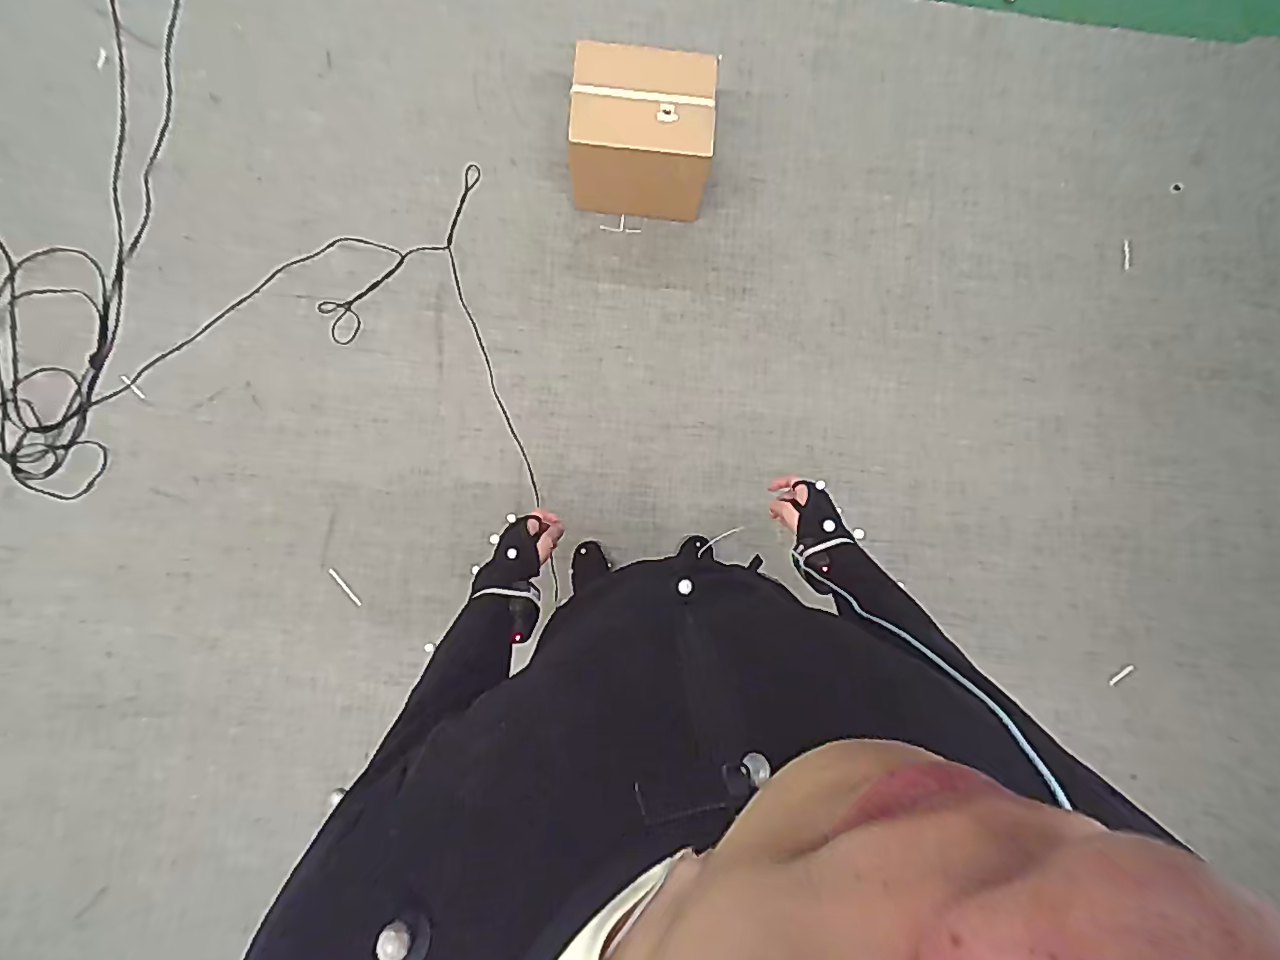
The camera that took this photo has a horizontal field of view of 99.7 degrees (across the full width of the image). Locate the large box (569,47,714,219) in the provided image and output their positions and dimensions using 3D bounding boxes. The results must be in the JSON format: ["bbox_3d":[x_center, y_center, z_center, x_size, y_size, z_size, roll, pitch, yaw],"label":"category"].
[{"bbox_3d":[-0.004,-1.044,1.662,0.408,0.320,0.320,3,83,-3],"label":"large box"}]
